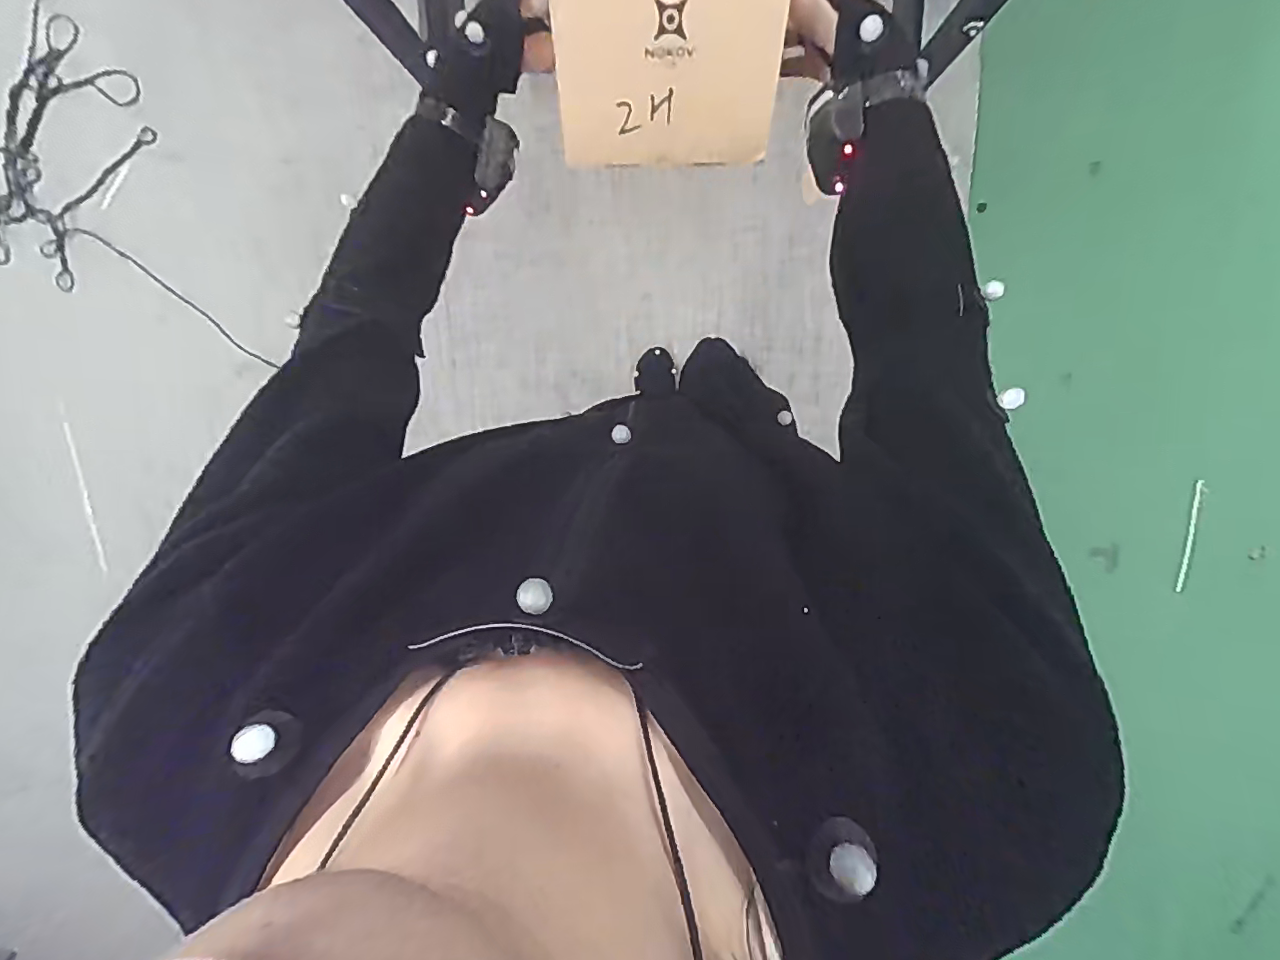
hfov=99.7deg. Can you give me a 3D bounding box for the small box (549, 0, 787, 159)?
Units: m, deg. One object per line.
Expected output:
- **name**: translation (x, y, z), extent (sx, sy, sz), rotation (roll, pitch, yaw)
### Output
- **small box**: translation (0.017, -0.378, 0.423), extent (0.168, 0.176, 0.179), rotation (0, 142, 0)
